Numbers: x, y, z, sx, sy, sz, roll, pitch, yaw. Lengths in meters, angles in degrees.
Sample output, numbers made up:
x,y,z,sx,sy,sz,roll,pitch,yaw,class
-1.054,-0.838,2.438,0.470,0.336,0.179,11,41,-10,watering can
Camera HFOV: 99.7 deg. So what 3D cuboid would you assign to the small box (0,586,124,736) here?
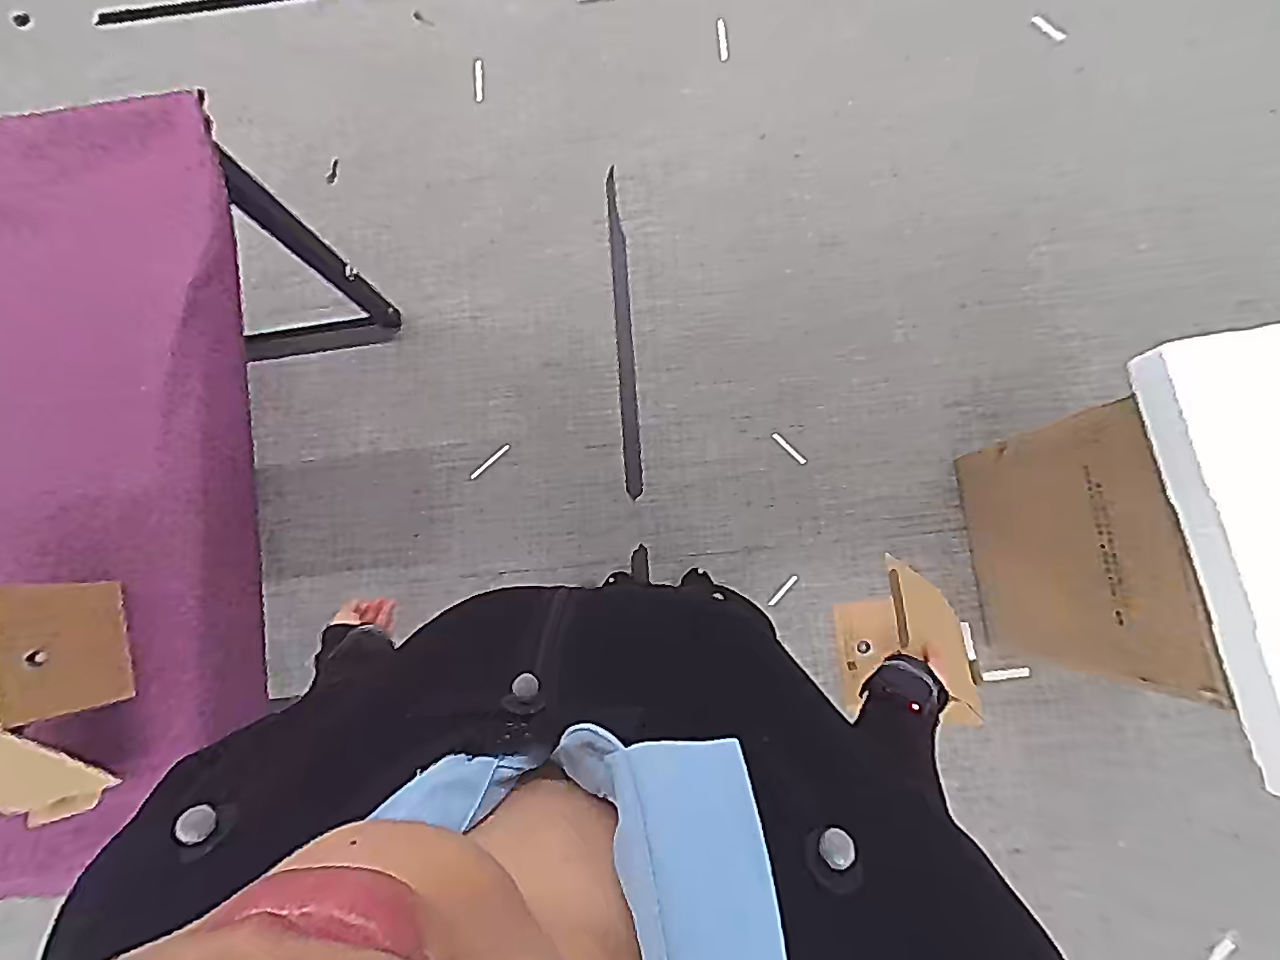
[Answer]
x,y,z,sx,sy,sz,roll,pitch,yaw,class
-0.843,0.247,0.717,0.168,0.176,0.179,-16,80,0,small box
